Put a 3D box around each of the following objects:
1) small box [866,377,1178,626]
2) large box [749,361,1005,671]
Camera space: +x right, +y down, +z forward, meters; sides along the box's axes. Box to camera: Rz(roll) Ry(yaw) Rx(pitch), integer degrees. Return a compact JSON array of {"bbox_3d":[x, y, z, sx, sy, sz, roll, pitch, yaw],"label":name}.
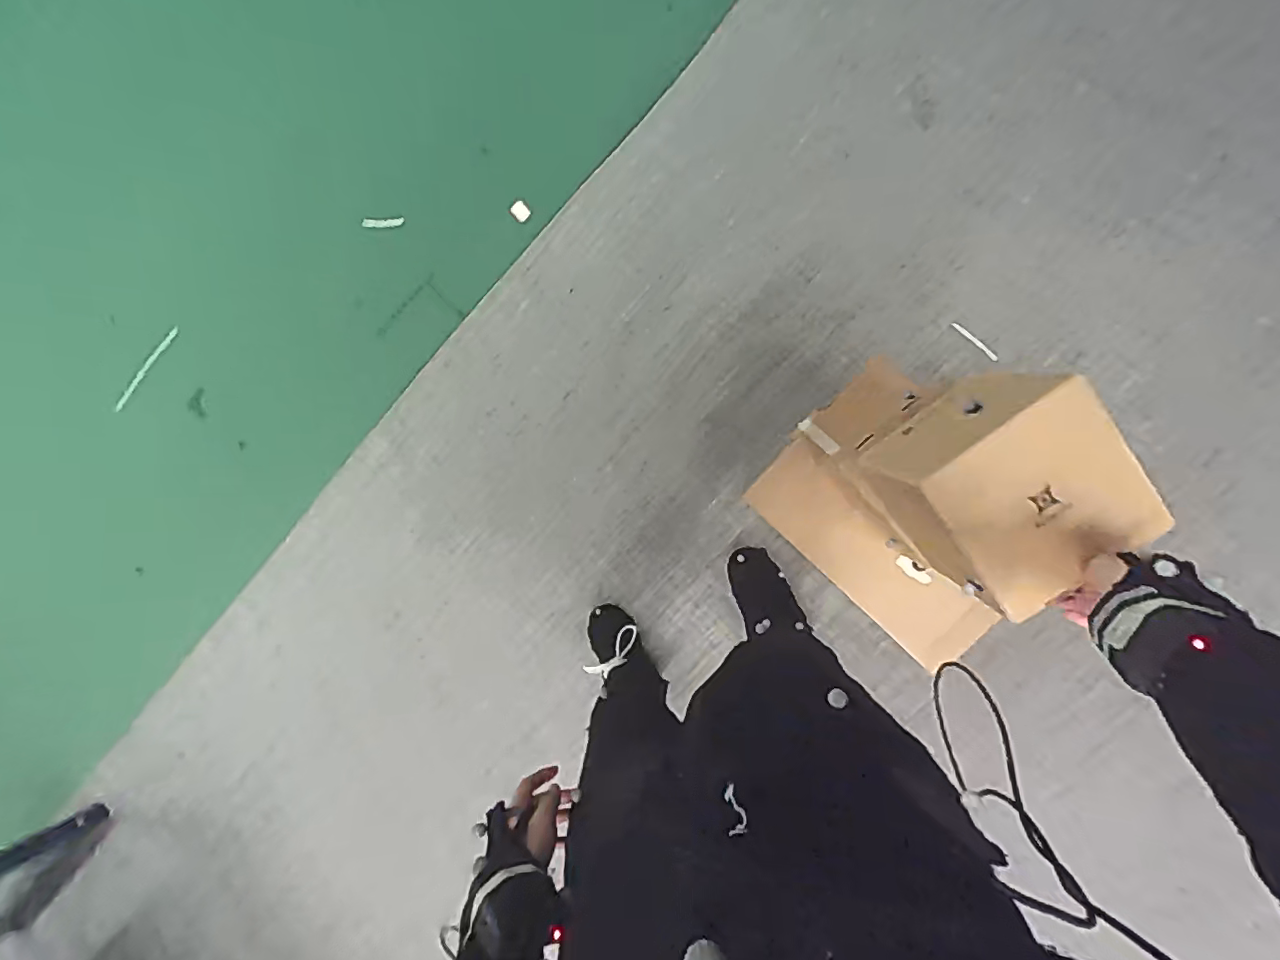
[{"bbox_3d":[0.373,0.011,0.566,0.168,0.176,0.179,-37,99,9],"label":"small box"},{"bbox_3d":[0.447,0.050,0.982,0.408,0.320,0.320,44,100,7],"label":"large box"}]
